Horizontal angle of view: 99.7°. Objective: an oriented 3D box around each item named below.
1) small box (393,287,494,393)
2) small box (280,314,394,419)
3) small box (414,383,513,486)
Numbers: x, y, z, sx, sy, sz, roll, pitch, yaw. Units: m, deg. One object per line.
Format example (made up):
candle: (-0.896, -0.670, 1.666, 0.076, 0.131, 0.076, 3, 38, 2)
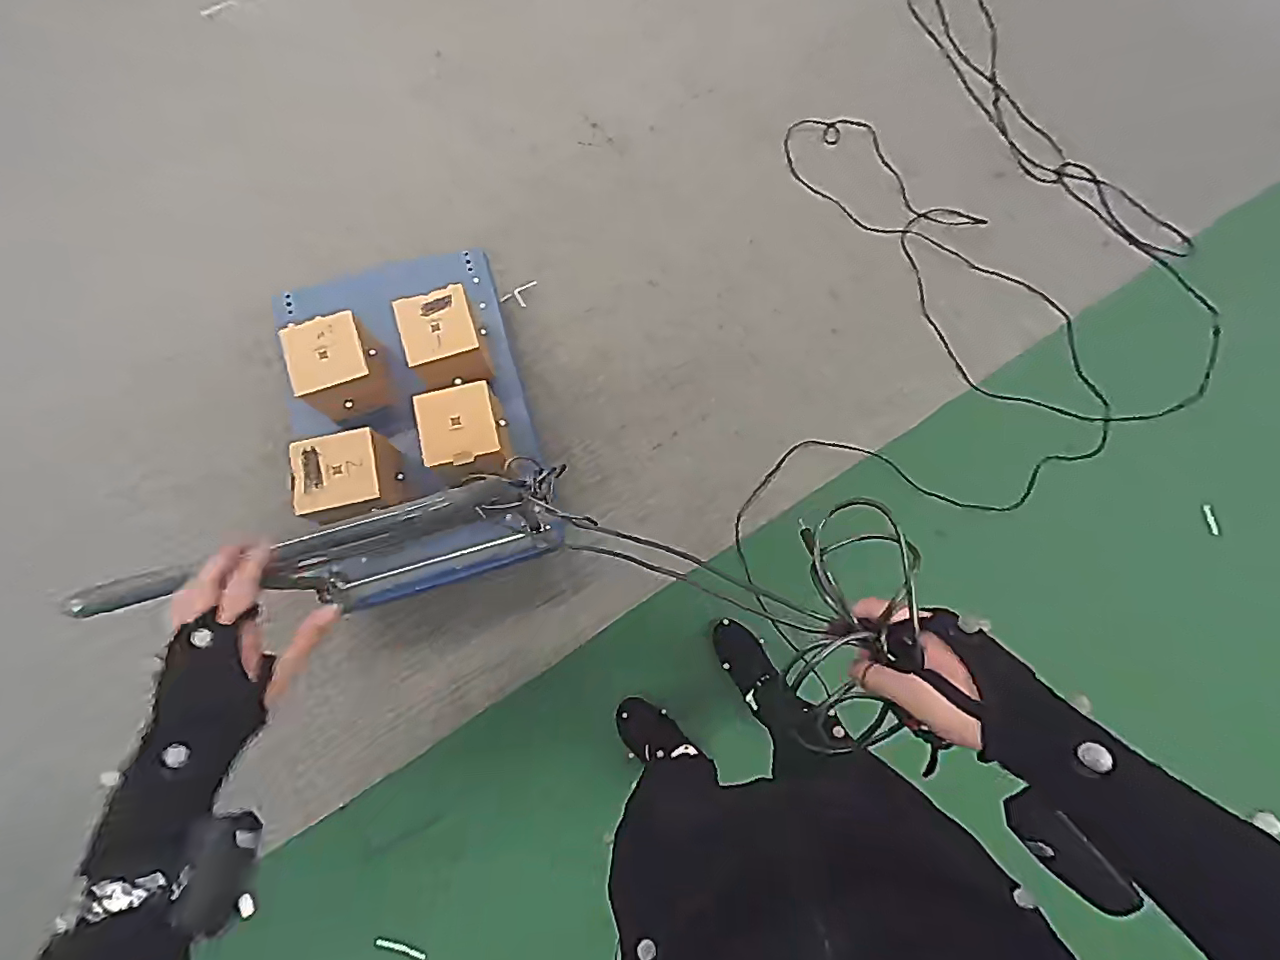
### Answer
small box: (-0.474, -0.334, 1.323, 0.168, 0.176, 0.179, -18, 78, -5)
small box: (-0.718, -0.261, 1.299, 0.168, 0.176, 0.179, -20, 78, -7)
small box: (-0.408, -0.101, 1.269, 0.168, 0.176, 0.179, -15, 78, -5)
